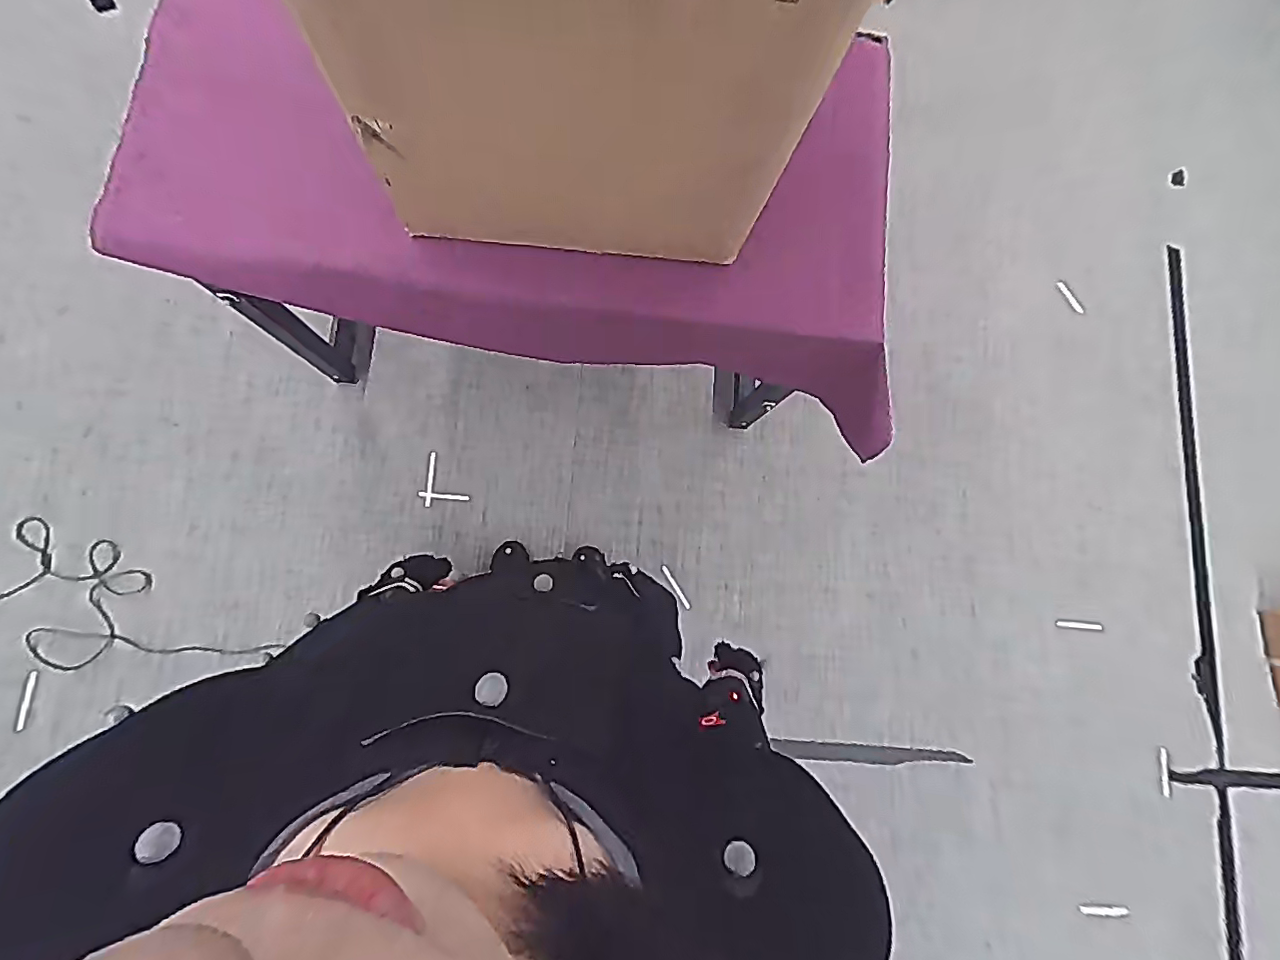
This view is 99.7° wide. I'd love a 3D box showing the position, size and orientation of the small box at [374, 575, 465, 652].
[{"bbox_3d":[-0.552,0.331,1.368,0.179,0.176,0.168,-4,83,-9],"label":"small box"}]
